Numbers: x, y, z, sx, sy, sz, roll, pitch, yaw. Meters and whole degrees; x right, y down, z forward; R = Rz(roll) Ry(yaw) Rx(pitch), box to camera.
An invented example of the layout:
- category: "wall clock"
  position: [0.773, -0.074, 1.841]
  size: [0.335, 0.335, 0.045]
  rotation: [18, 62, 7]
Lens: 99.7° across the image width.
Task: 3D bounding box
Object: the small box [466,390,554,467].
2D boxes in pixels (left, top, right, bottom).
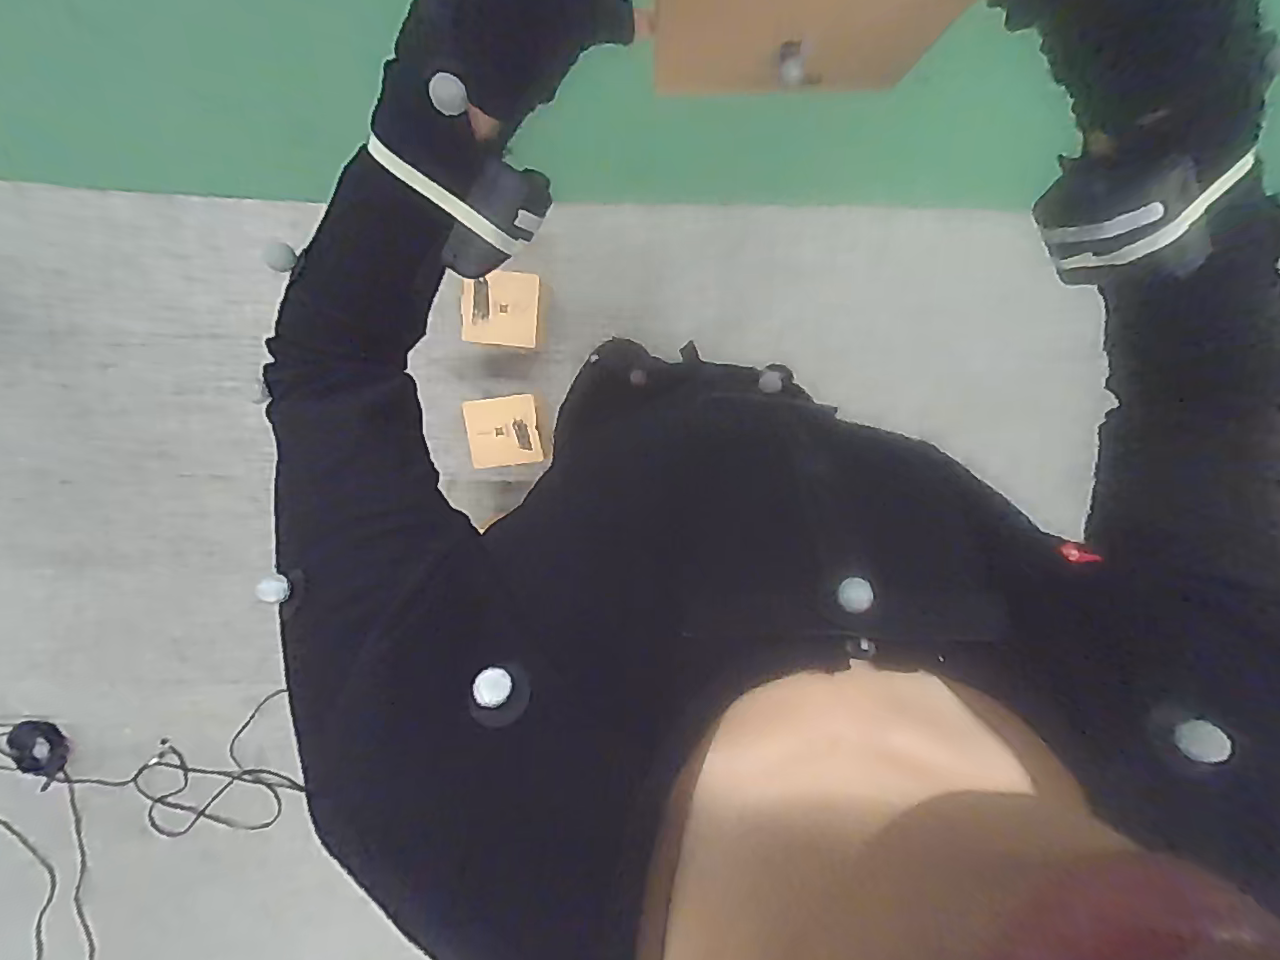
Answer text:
- category: "small box"
  position: [-0.319, -0.135, 1.369]
  size: [0.179, 0.176, 0.168]
  rotation: [-7, 100, 2]

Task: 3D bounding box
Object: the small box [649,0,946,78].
- category: "small box"
  position: [0.086, -0.340, 0.268]
  size: [0.168, 0.176, 0.179]
  rotation: [0, 104, 1]
